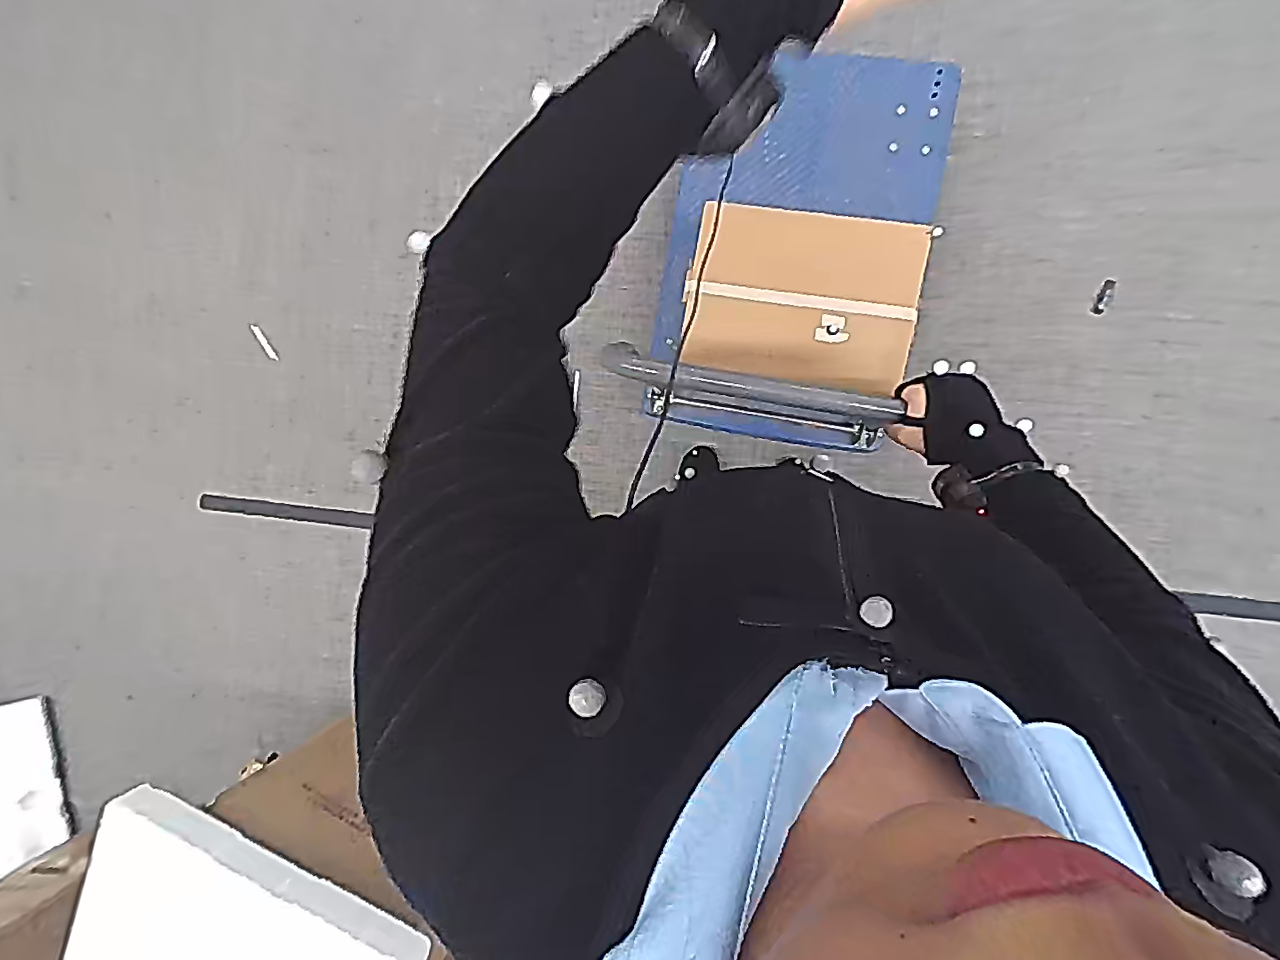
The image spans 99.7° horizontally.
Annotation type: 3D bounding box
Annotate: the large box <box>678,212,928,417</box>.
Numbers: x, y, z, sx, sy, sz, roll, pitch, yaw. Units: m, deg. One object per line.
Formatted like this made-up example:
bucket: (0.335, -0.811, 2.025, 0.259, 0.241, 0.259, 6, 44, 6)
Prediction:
large box: (0.307, -0.321, 1.129, 0.408, 0.320, 0.320, 11, 95, 7)
